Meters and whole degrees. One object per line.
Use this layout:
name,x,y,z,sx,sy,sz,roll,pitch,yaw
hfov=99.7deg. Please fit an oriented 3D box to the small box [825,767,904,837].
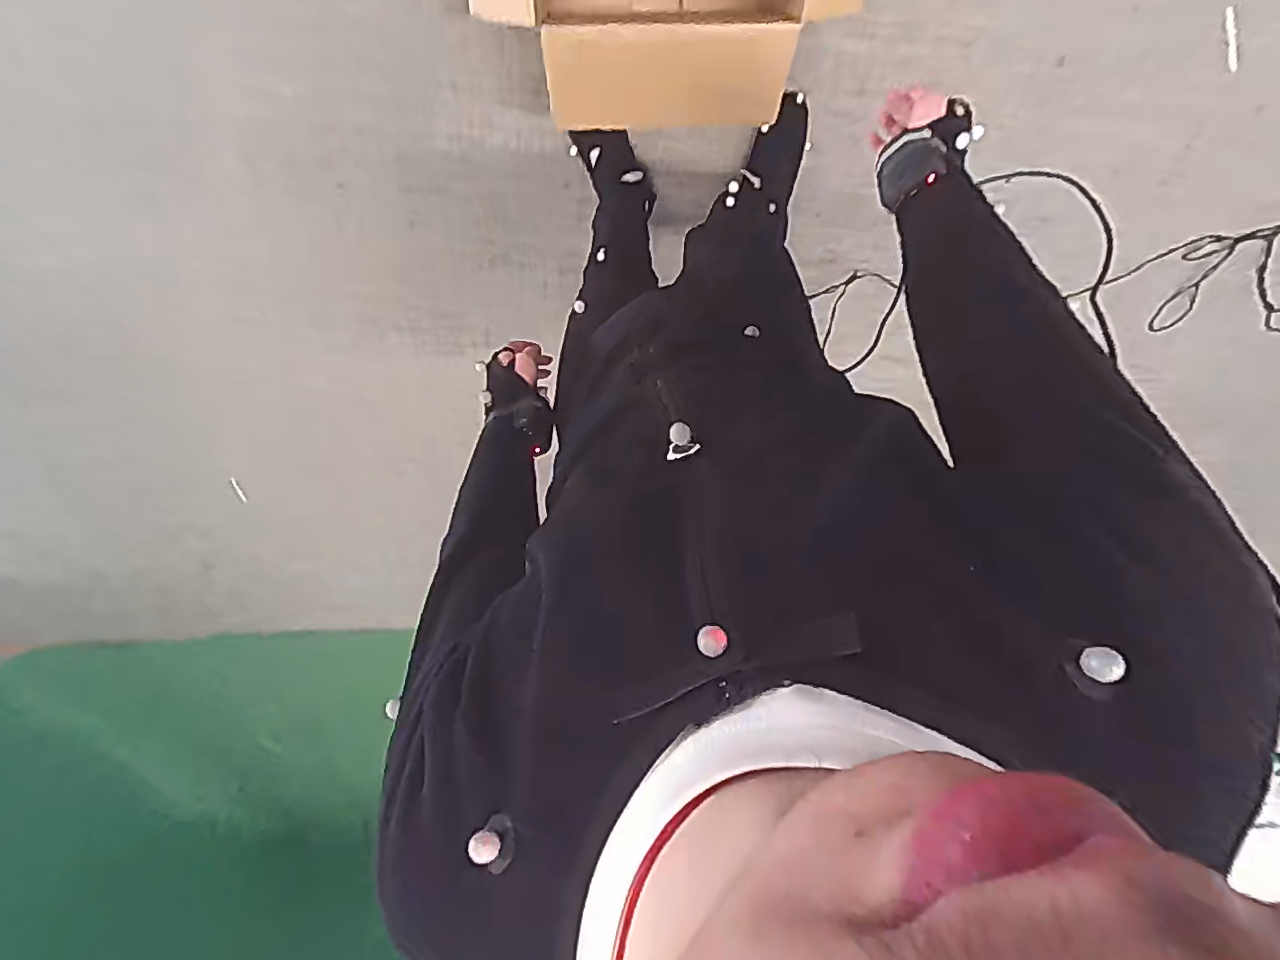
small box,0.751,1.090,1.832,0.168,0.176,0.179,4,133,-7
